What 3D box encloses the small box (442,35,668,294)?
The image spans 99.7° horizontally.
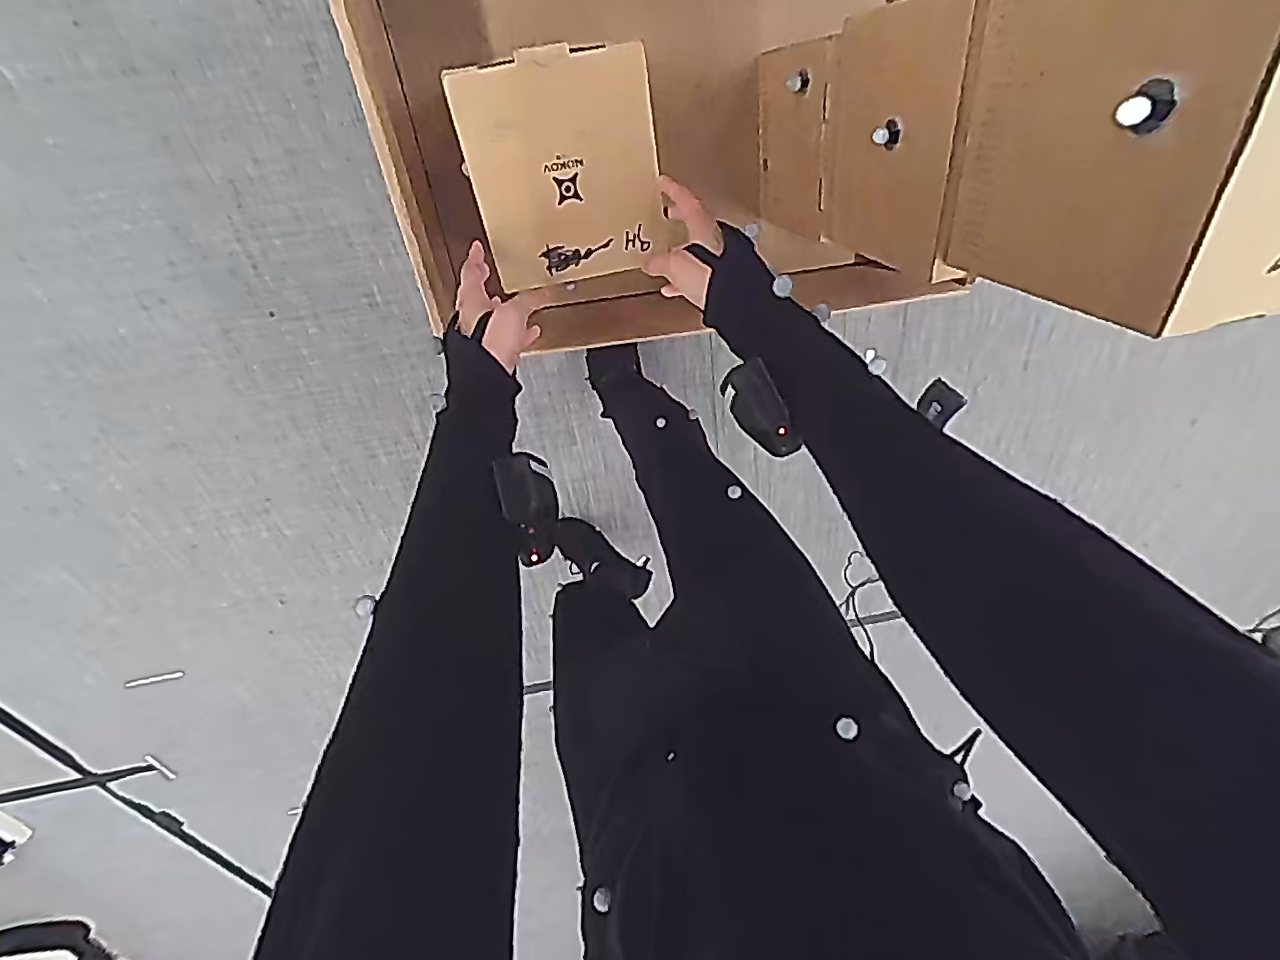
[{"bbox_3d":[-0.077,-0.304,0.531,0.168,0.176,0.179,-12,125,-2],"label":"small box"}]

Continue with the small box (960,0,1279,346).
[{"bbox_3d":[0.304,-0.195,0.281,0.168,0.176,0.179,-13,126,-3],"label":"small box"}]

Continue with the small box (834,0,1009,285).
[{"bbox_3d":[0.268,-0.274,0.421,0.168,0.176,0.179,-13,125,-4],"label":"small box"}]
